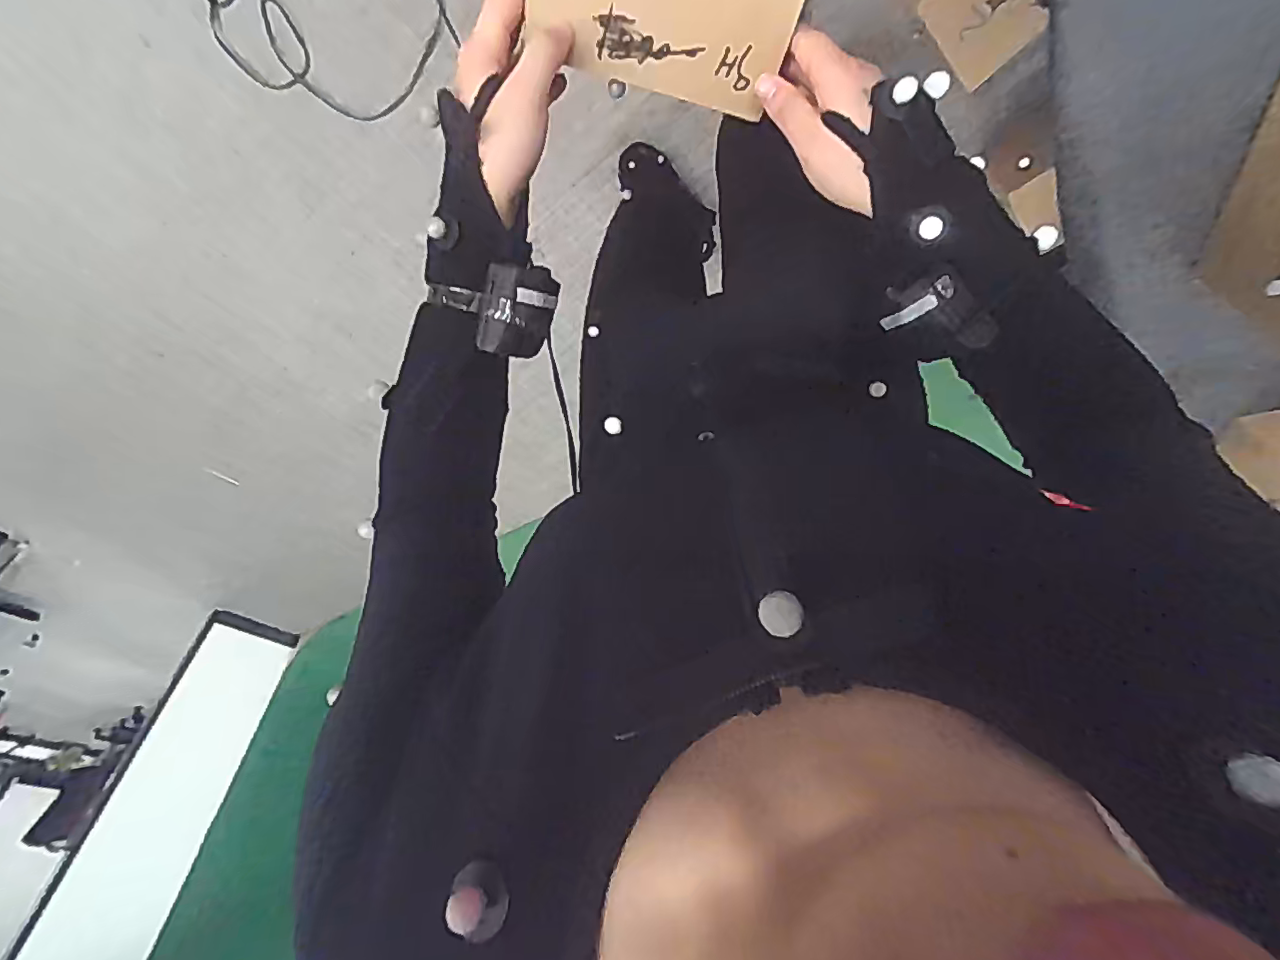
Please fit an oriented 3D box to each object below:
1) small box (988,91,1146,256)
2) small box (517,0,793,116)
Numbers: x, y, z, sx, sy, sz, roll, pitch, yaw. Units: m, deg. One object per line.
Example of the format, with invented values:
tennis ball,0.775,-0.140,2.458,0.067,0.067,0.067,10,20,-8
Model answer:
small box,0.781,-0.568,1.007,0.179,0.176,0.168,-29,130,35
small box,0.020,-0.383,0.352,0.168,0.176,0.179,10,138,-12
